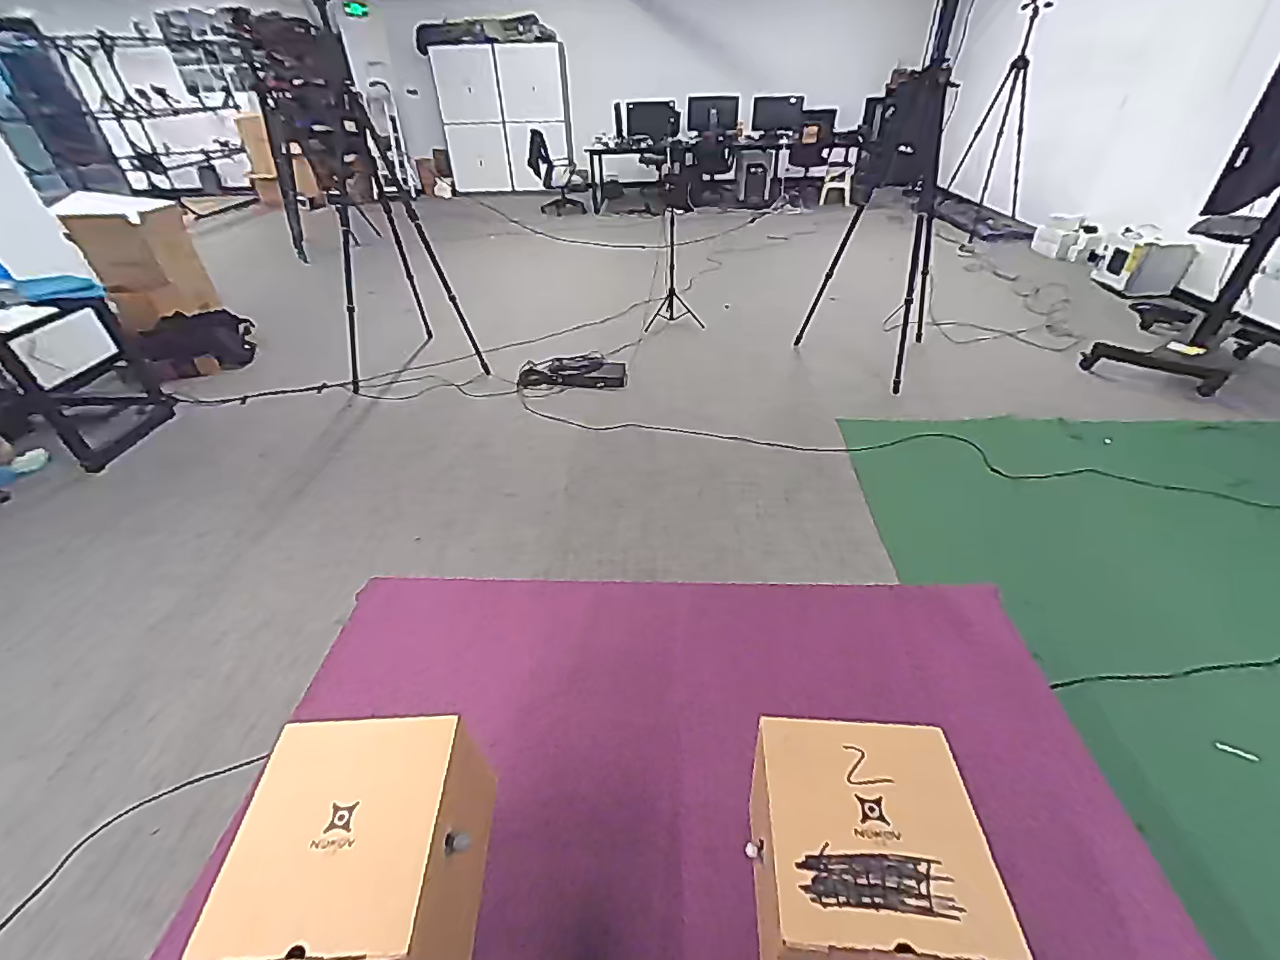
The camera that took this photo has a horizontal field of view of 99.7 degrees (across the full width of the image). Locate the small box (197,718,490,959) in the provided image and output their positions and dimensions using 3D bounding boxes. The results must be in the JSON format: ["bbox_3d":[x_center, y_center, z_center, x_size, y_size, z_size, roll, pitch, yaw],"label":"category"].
[{"bbox_3d":[-0.250,0.351,0.517,0.168,0.176,0.179,-3,43,0],"label":"small box"}]
